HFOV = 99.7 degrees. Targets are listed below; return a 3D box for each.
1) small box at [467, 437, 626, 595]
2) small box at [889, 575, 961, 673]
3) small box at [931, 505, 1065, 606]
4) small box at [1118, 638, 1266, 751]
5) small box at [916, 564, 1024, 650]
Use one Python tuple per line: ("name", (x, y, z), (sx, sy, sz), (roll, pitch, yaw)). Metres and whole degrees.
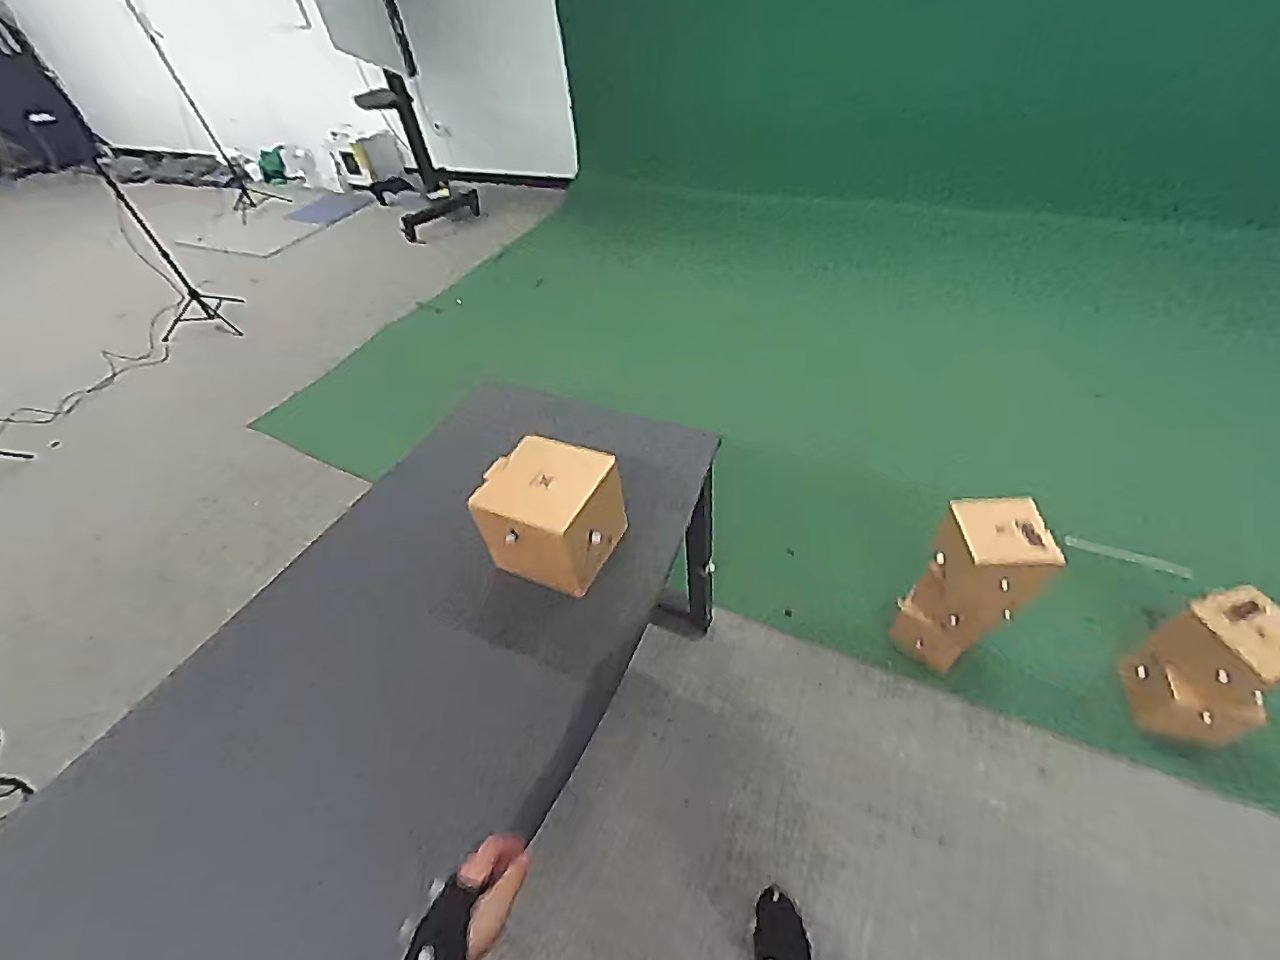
("small box", (-0.137, 0.061, 0.873), (0.179, 0.176, 0.168), (15, 50, 23))
("small box", (0.799, 0.384, 1.460), (0.168, 0.176, 0.179), (32, 57, 30))
("small box", (0.788, 0.171, 1.212), (0.179, 0.176, 0.168), (-1, 48, 7))
("small box", (1.289, 0.509, 1.283), (0.168, 0.176, 0.179), (10, 48, 15))
("small box", (0.810, 0.286, 1.328), (0.179, 0.176, 0.168), (-23, 50, -15))
